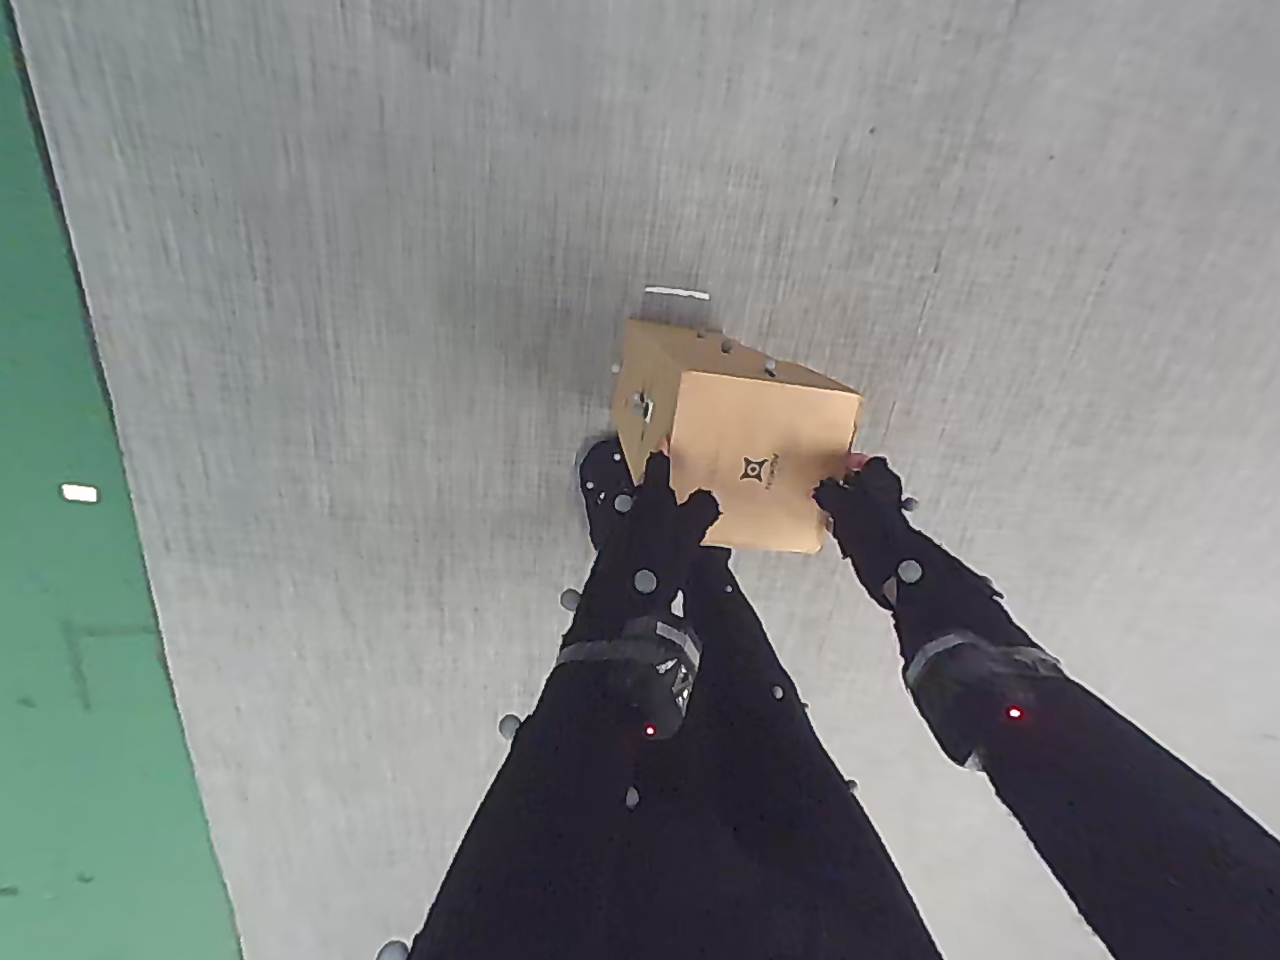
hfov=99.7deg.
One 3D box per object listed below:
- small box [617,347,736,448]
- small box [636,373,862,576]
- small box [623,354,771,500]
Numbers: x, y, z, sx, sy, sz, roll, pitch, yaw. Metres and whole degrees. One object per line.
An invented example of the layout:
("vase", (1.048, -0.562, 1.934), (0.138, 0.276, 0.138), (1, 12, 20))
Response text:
("small box", (0.065, -0.120, 0.887), (0.179, 0.176, 0.168), (3, 110, -10))
("small box", (0.099, -0.014, 0.580), (0.179, 0.176, 0.168), (6, 109, -8))
("small box", (0.081, -0.068, 0.733), (0.179, 0.176, 0.168), (7, 110, -10))
